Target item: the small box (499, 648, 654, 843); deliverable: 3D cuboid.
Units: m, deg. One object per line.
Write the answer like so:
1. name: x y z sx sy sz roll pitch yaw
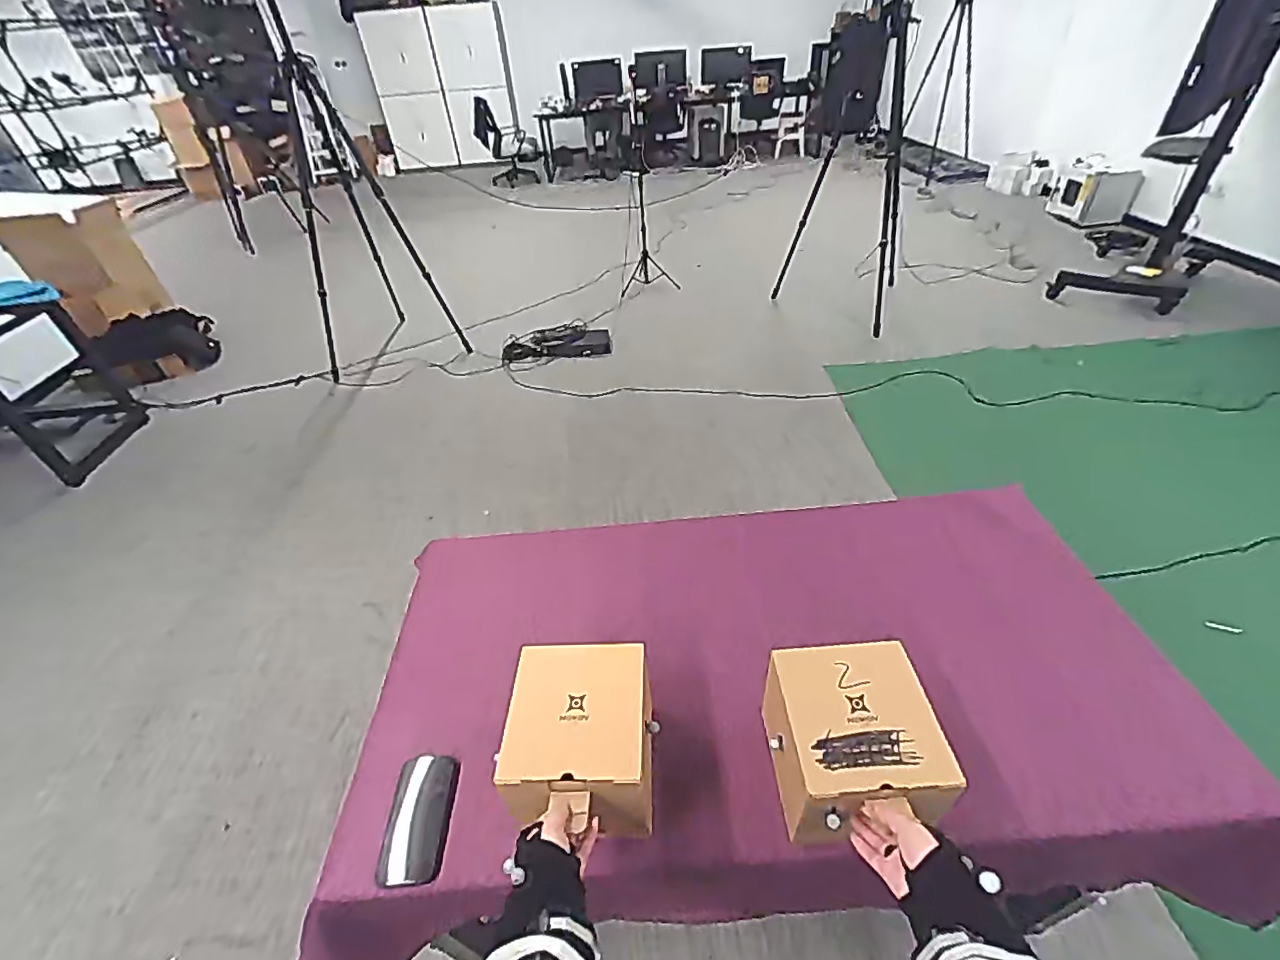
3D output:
1. small box: -0.069 0.340 0.702 0.168 0.176 0.179 -2 39 3
